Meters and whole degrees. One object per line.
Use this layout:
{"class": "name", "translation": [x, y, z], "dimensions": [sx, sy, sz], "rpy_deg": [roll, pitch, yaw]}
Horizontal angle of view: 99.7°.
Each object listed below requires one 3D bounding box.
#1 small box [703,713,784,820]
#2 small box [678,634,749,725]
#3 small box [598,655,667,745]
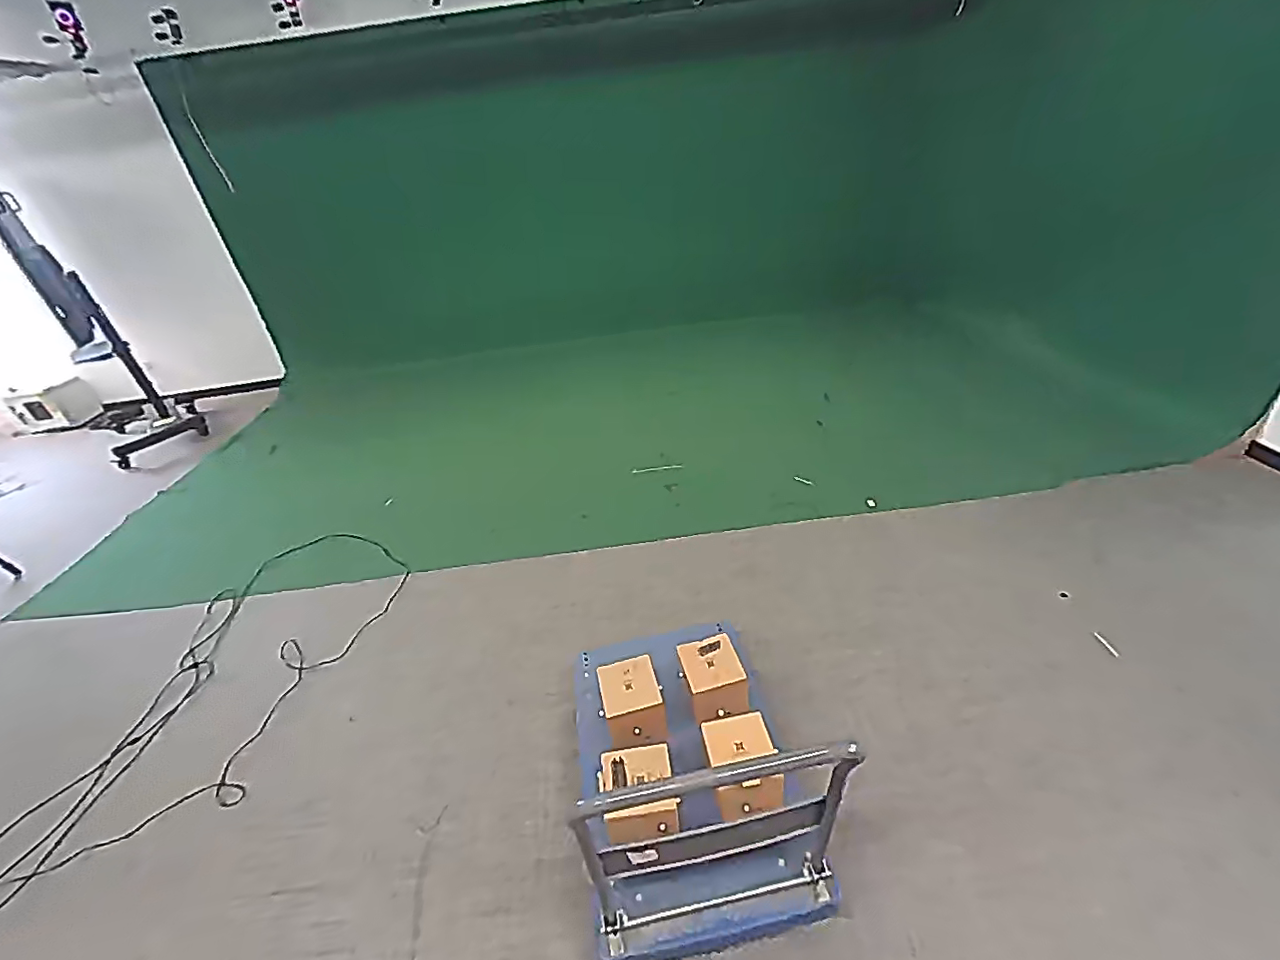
{"class": "small box", "translation": [0.265, 0.751, 1.418], "dimensions": [0.168, 0.176, 0.179], "rpy_deg": [-10, 34, -4]}
{"class": "small box", "translation": [0.221, 0.605, 1.642], "dimensions": [0.168, 0.176, 0.179], "rpy_deg": [-13, 35, -7]}
{"class": "small box", "translation": [-0.022, 0.661, 1.609], "dimensions": [0.168, 0.176, 0.179], "rpy_deg": [-12, 34, -7]}
